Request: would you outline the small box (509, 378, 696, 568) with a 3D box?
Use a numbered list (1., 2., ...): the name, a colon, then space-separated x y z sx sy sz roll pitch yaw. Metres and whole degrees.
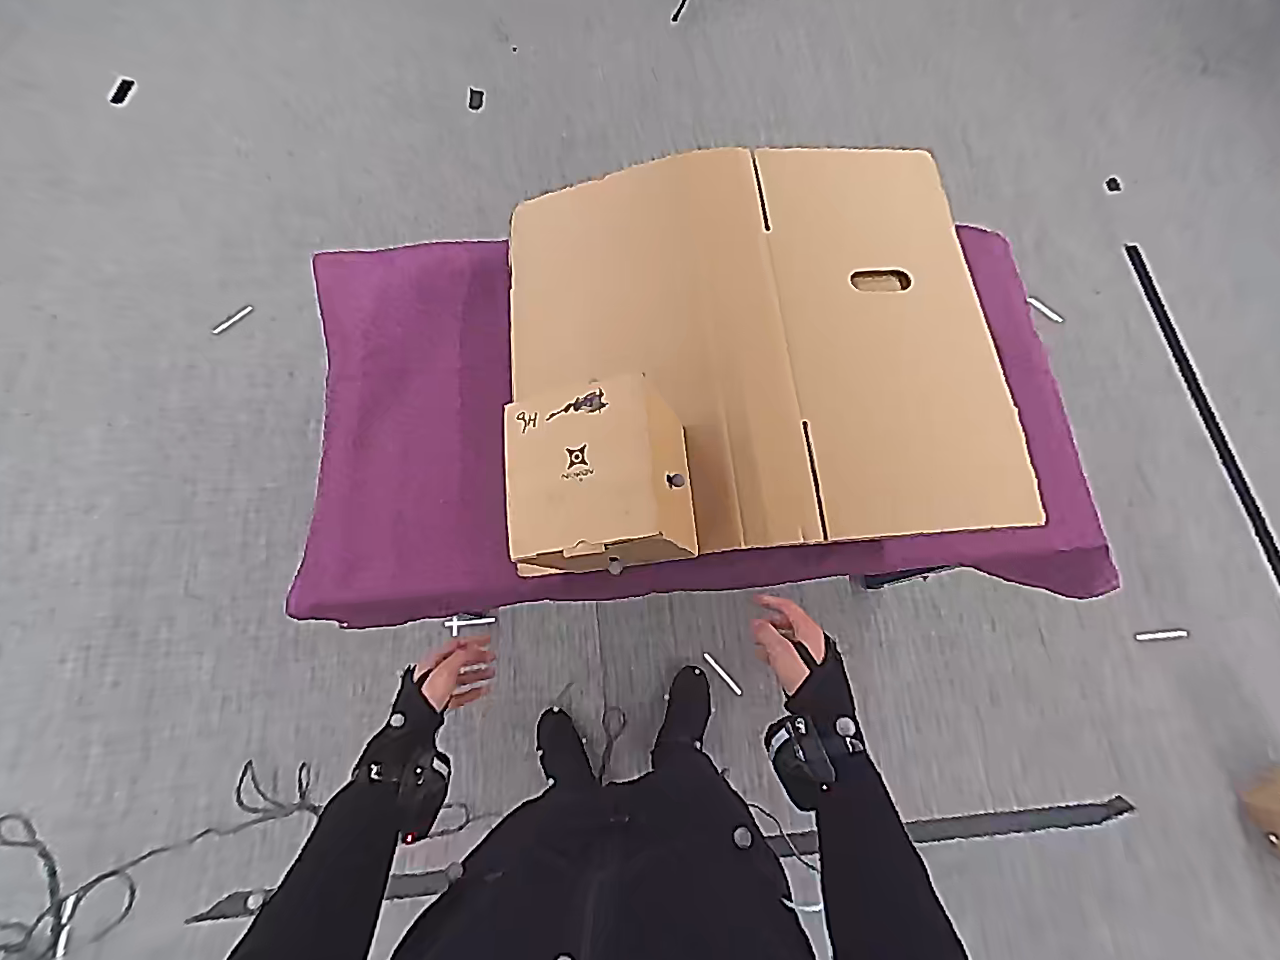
1. small box: -0.036 0.007 0.634 0.168 0.176 0.179 -10 74 16
